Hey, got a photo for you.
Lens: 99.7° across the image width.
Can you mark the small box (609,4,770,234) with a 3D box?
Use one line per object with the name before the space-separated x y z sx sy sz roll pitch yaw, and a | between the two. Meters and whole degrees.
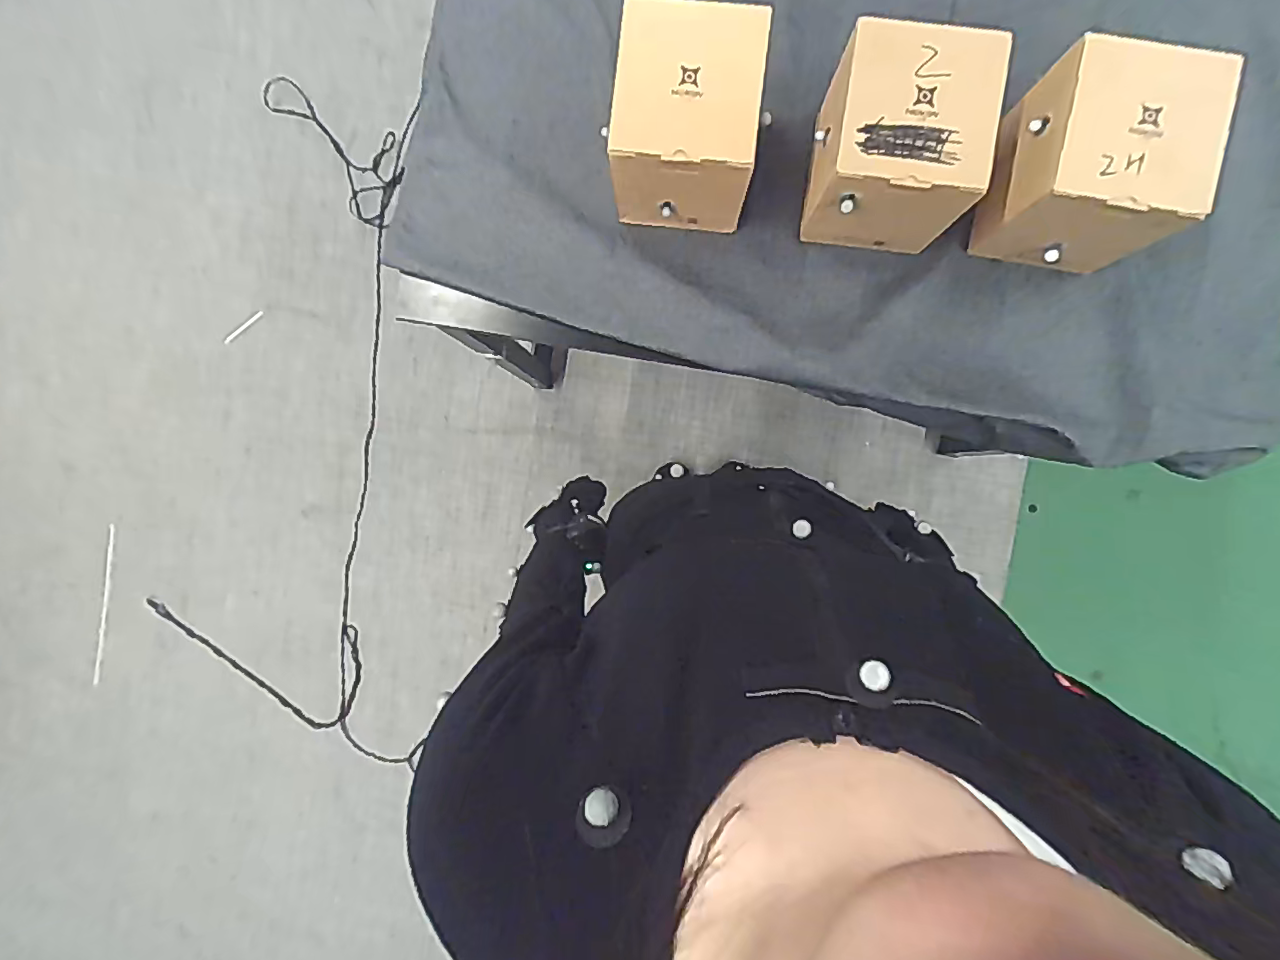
small box | 0.058 -0.444 0.689 0.168 0.176 0.179 7 91 2
